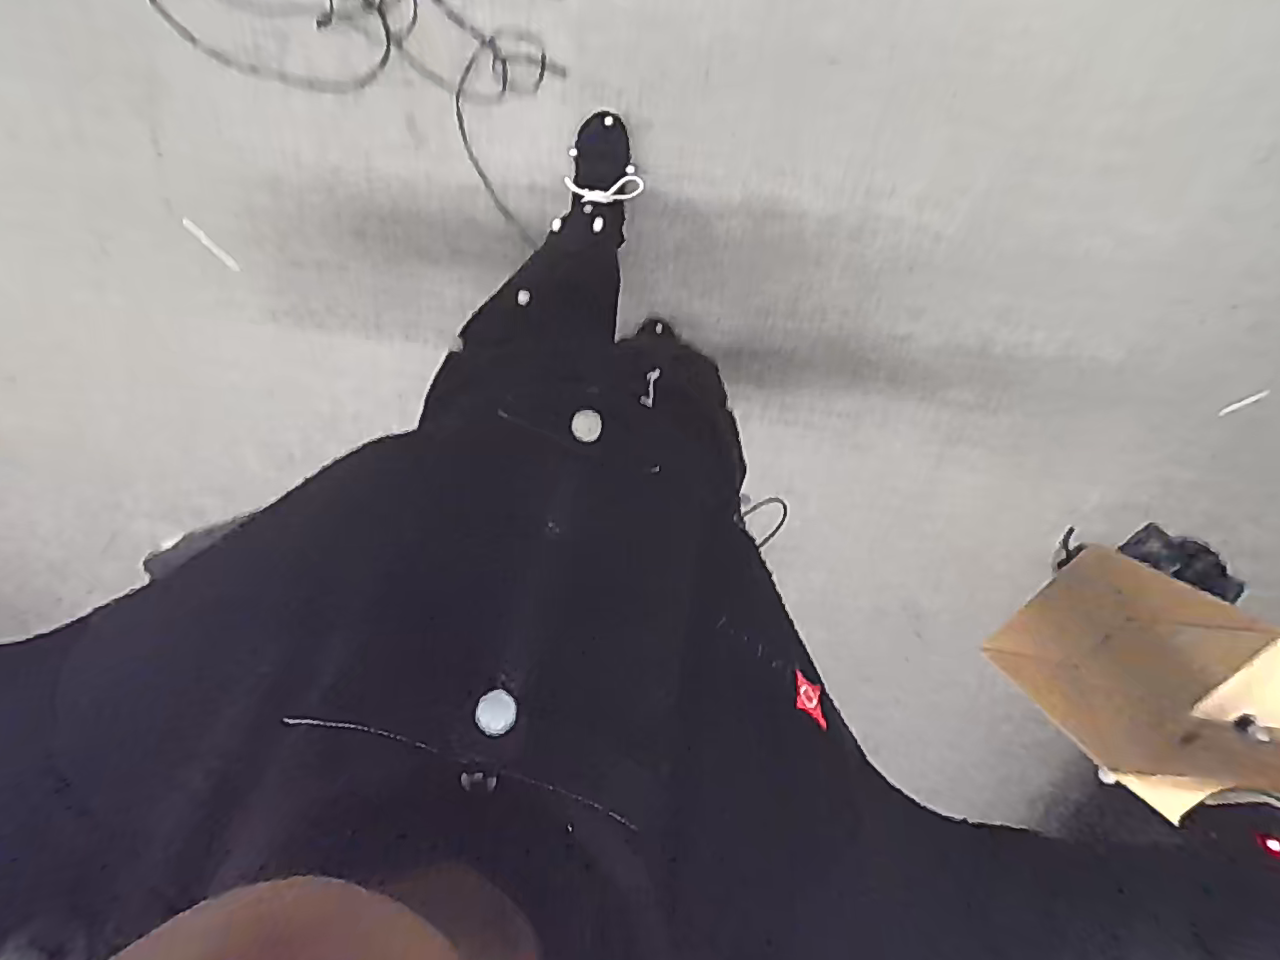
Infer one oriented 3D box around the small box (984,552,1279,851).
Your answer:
[{"bbox_3d":[0.487,0.199,0.532,0.176,0.179,0.168,37,102,-9],"label":"small box"}]
